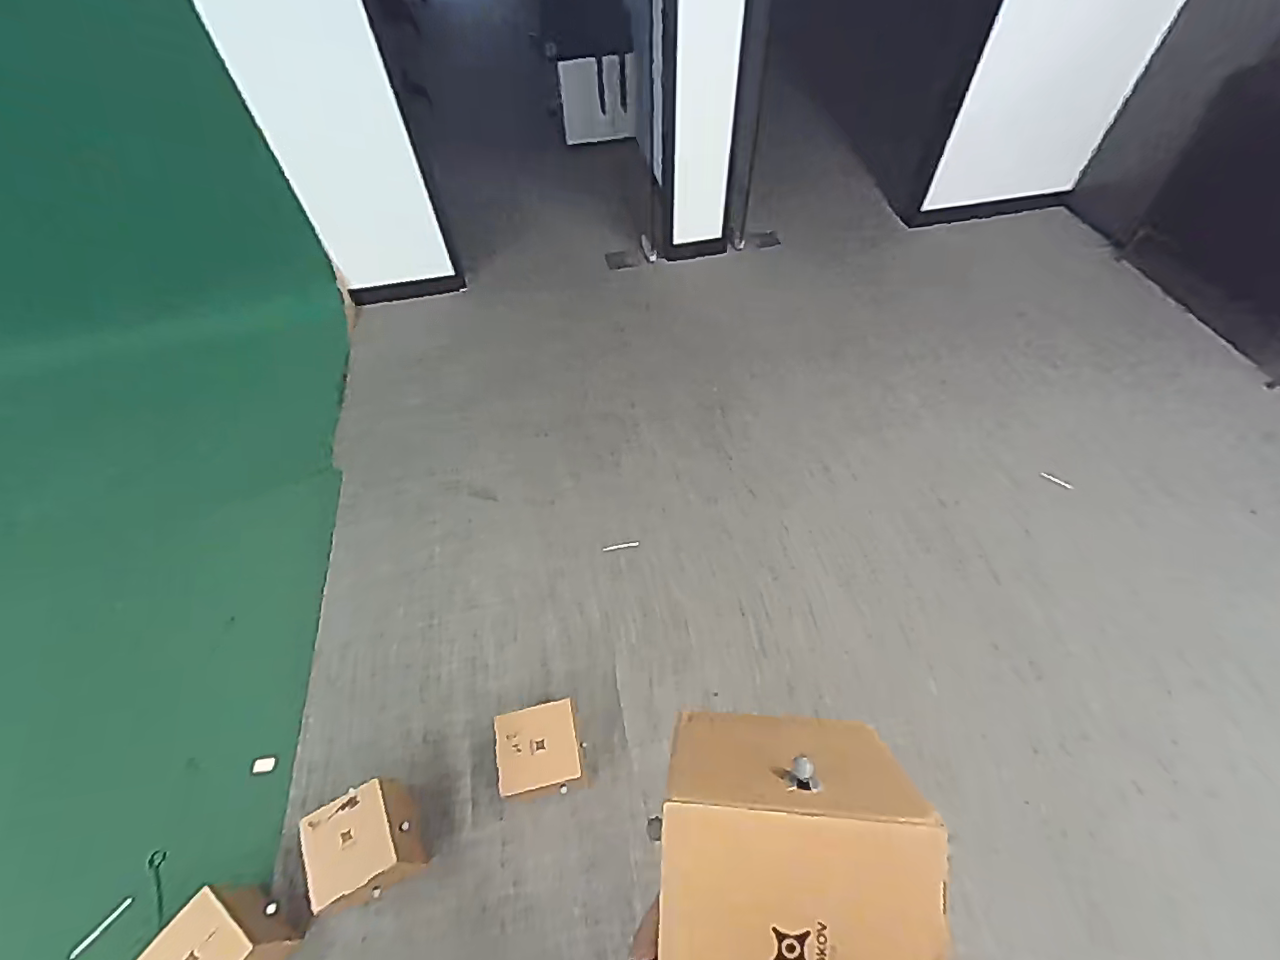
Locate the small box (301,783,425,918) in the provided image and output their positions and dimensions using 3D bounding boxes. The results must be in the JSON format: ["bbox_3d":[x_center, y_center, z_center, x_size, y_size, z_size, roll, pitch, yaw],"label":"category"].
[{"bbox_3d":[-0.580,0.778,1.147,0.168,0.176,0.179,-25,57,-15],"label":"small box"}]

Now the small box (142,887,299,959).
[{"bbox_3d":[-0.815,0.932,1.045,0.168,0.176,0.179,28,59,21],"label":"small box"}]

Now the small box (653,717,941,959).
[{"bbox_3d":[0.105,0.295,0.414,0.179,0.176,0.168,1,85,6],"label":"small box"}]

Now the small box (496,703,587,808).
[{"bbox_3d":[-0.220,0.632,1.238,0.179,0.176,0.168,-11,54,-6],"label":"small box"}]
